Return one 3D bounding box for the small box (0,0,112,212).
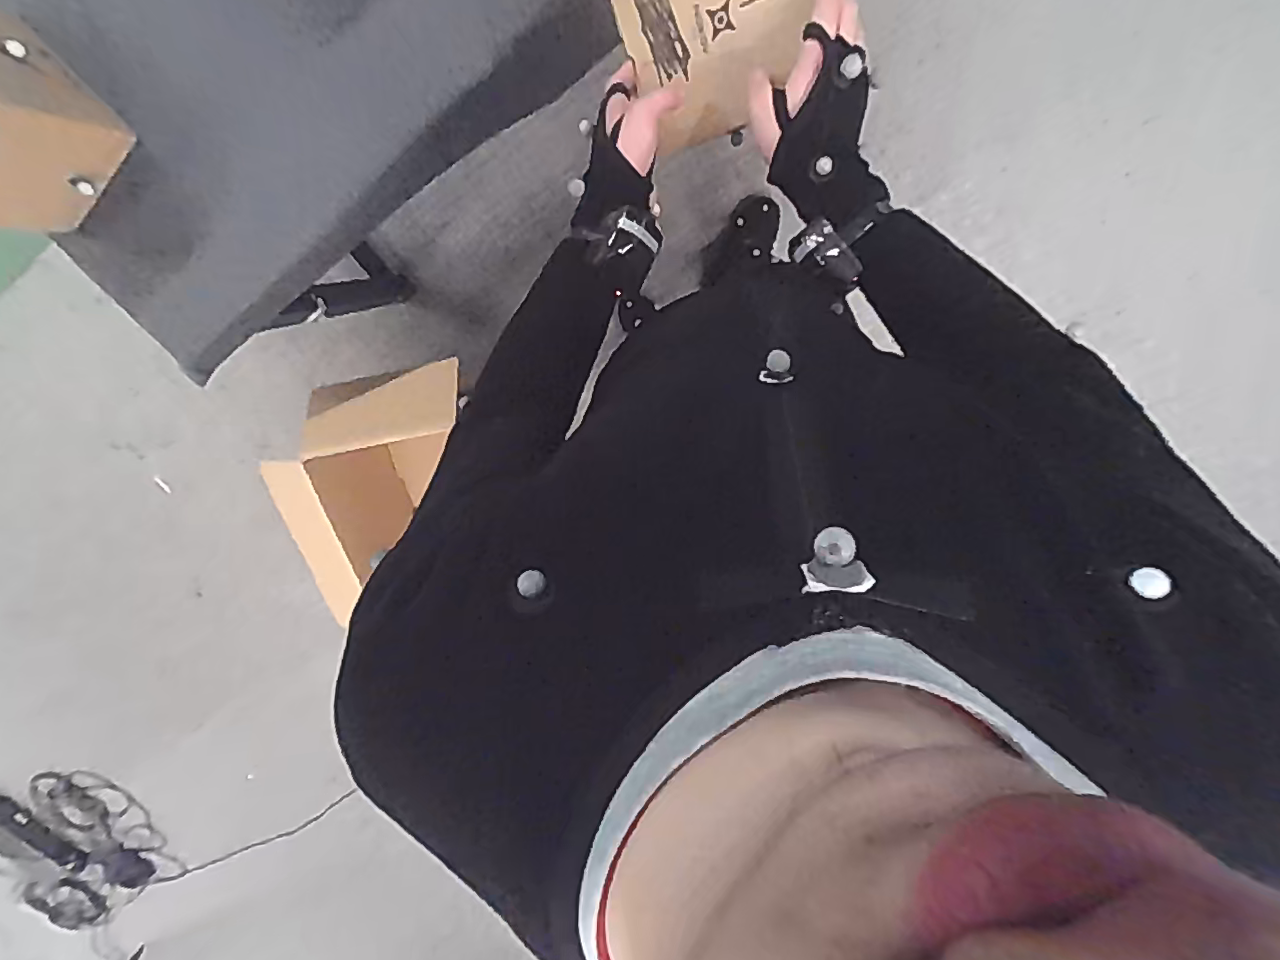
[{"bbox_3d":[-0.754,-0.425,0.592,0.179,0.176,0.168,-38,107,15],"label":"small box"}]

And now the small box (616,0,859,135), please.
[{"bbox_3d":[0.095,-0.446,0.505,0.179,0.176,0.168,0,124,31],"label":"small box"}]
